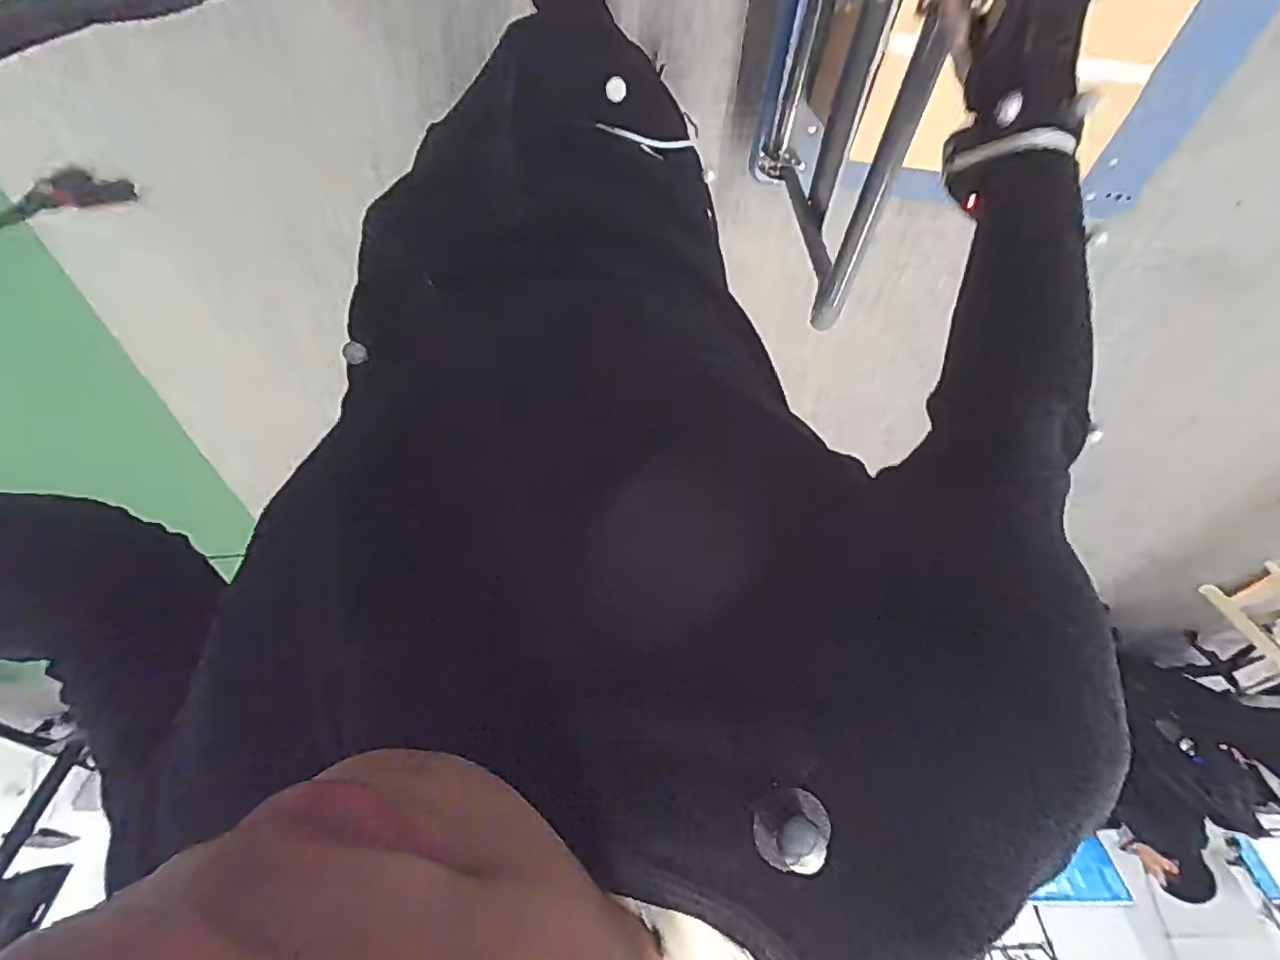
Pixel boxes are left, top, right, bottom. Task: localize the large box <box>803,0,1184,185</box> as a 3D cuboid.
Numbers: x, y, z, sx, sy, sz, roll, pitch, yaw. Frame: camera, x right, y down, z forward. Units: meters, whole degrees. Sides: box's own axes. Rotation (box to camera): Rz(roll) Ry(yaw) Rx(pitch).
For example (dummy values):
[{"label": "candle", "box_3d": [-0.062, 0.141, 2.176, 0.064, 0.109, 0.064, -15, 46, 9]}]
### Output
[{"label": "large box", "box_3d": [0.535, -0.721, 0.888, 0.408, 0.320, 0.320, 3, 138, -6]}]
